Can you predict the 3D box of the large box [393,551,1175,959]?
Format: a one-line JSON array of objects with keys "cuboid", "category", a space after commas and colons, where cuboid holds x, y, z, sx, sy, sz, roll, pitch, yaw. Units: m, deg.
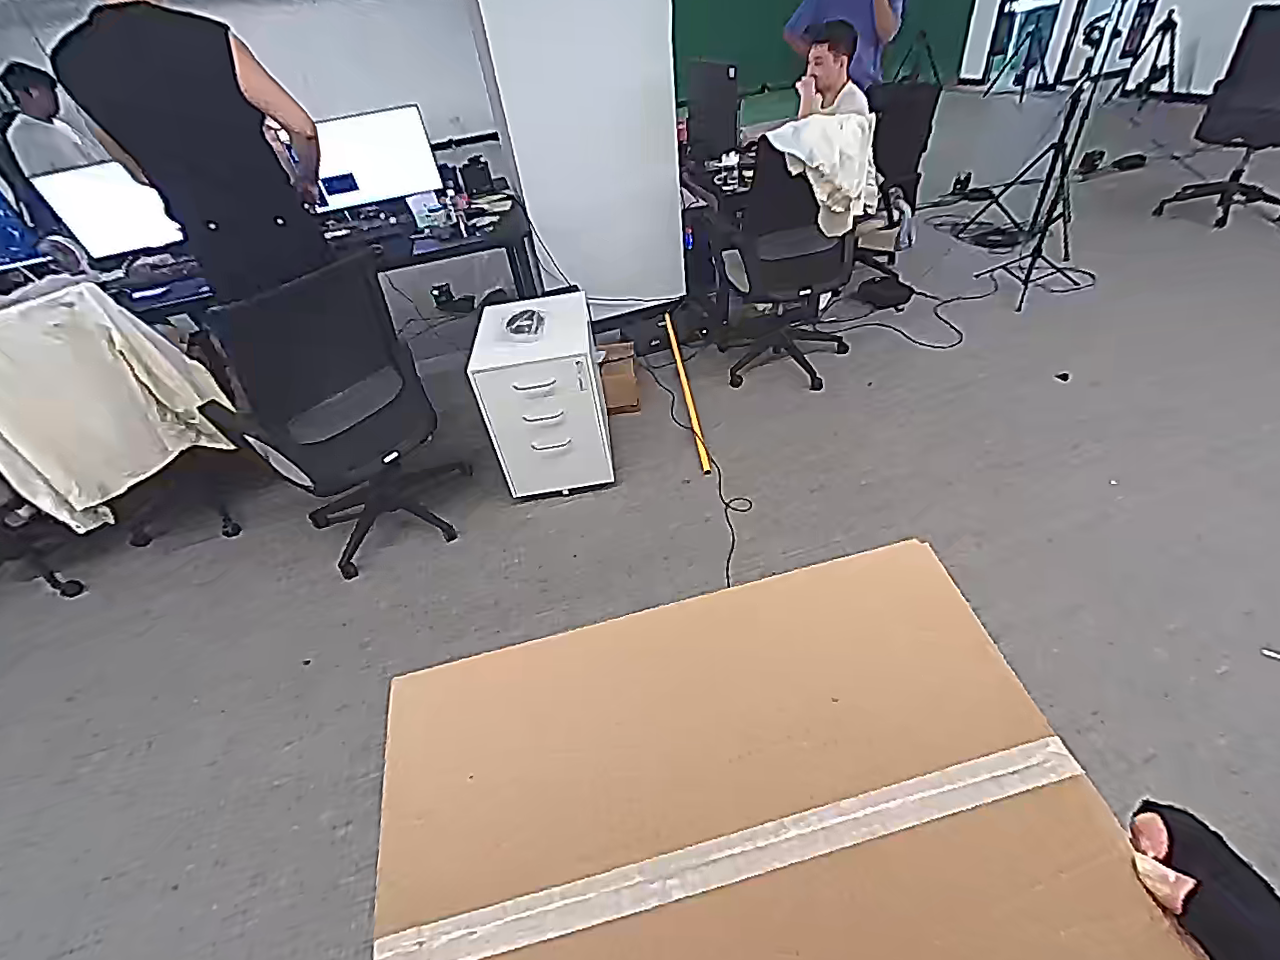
[{"cuboid": [0.071, 0.308, 0.430, 0.408, 0.320, 0.320, -15, 51, -3], "category": "large box"}]
